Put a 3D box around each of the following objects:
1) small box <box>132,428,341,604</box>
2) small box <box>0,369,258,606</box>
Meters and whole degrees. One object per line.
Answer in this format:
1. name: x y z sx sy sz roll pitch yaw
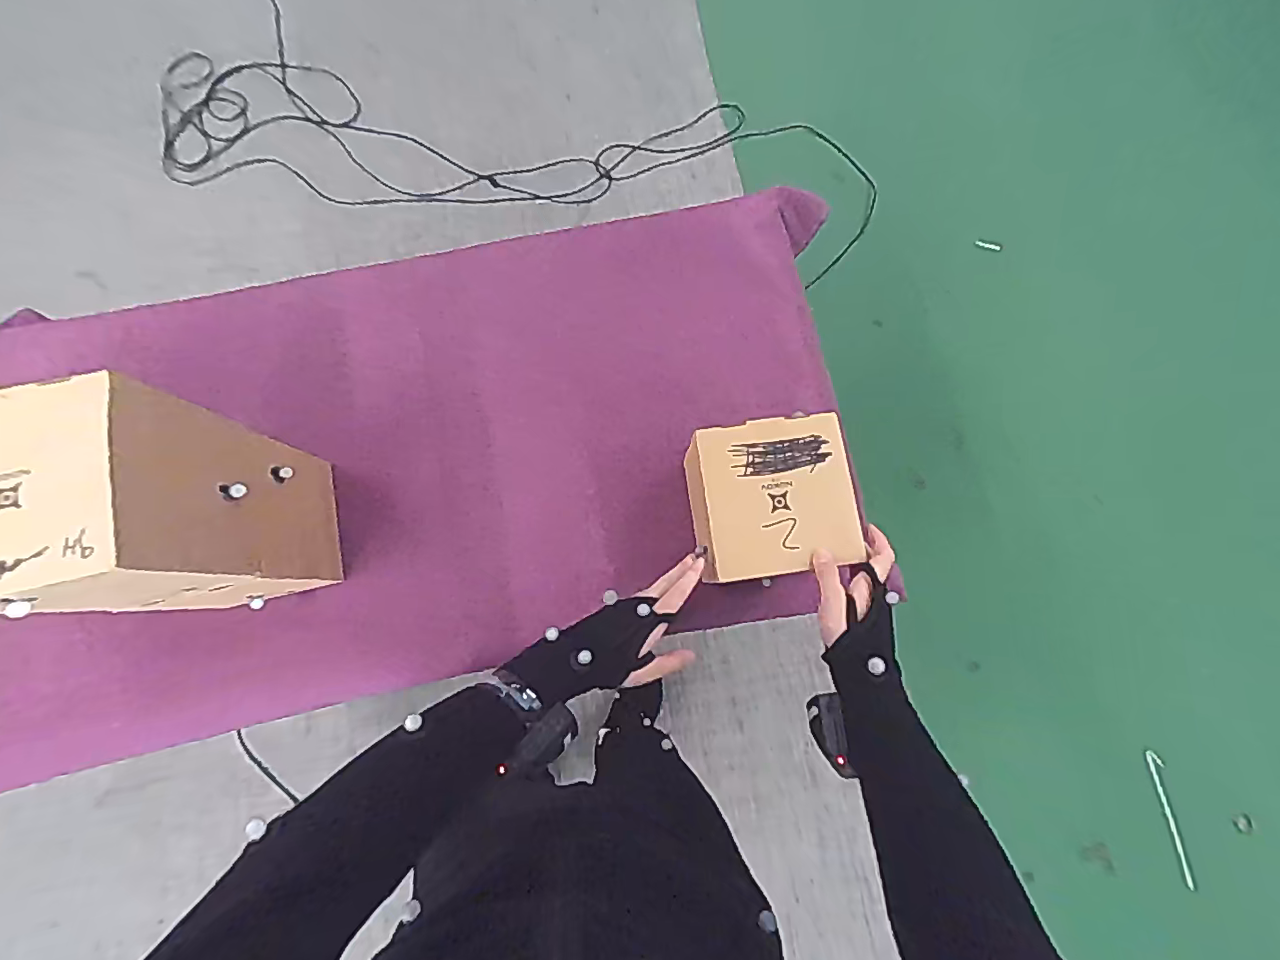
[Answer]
1. small box: -0.506 0.054 0.680 0.168 0.176 0.179 -12 79 -2
2. small box: -0.507 0.020 0.519 0.168 0.176 0.179 -13 78 -2
